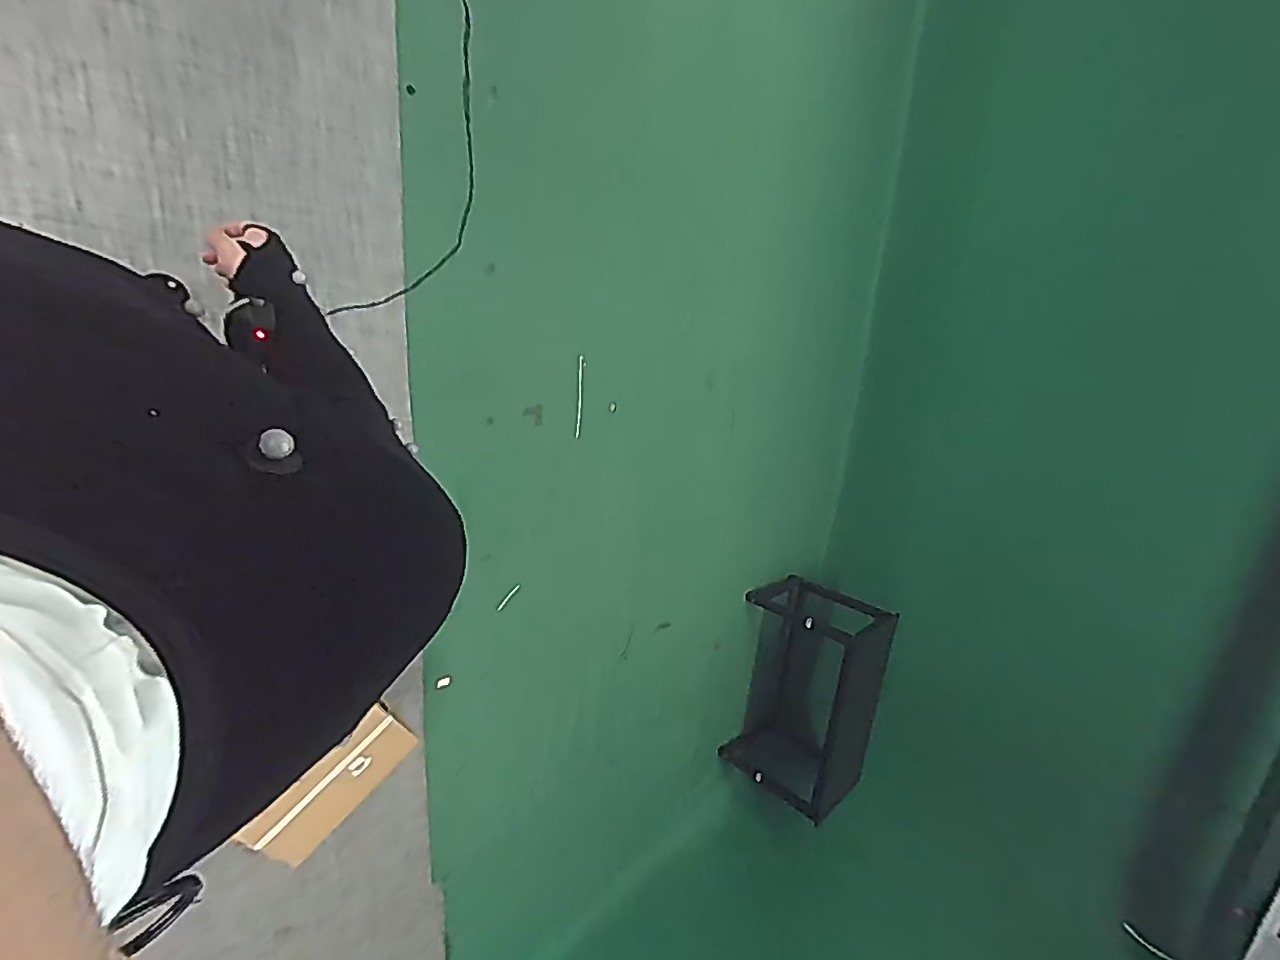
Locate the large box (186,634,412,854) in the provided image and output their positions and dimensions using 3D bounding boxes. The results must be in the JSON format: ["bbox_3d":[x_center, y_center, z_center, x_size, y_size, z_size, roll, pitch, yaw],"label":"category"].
[{"bbox_3d":[-0.954,0.728,1.533,0.408,0.320,0.320,-46,133,-27],"label":"large box"}]
